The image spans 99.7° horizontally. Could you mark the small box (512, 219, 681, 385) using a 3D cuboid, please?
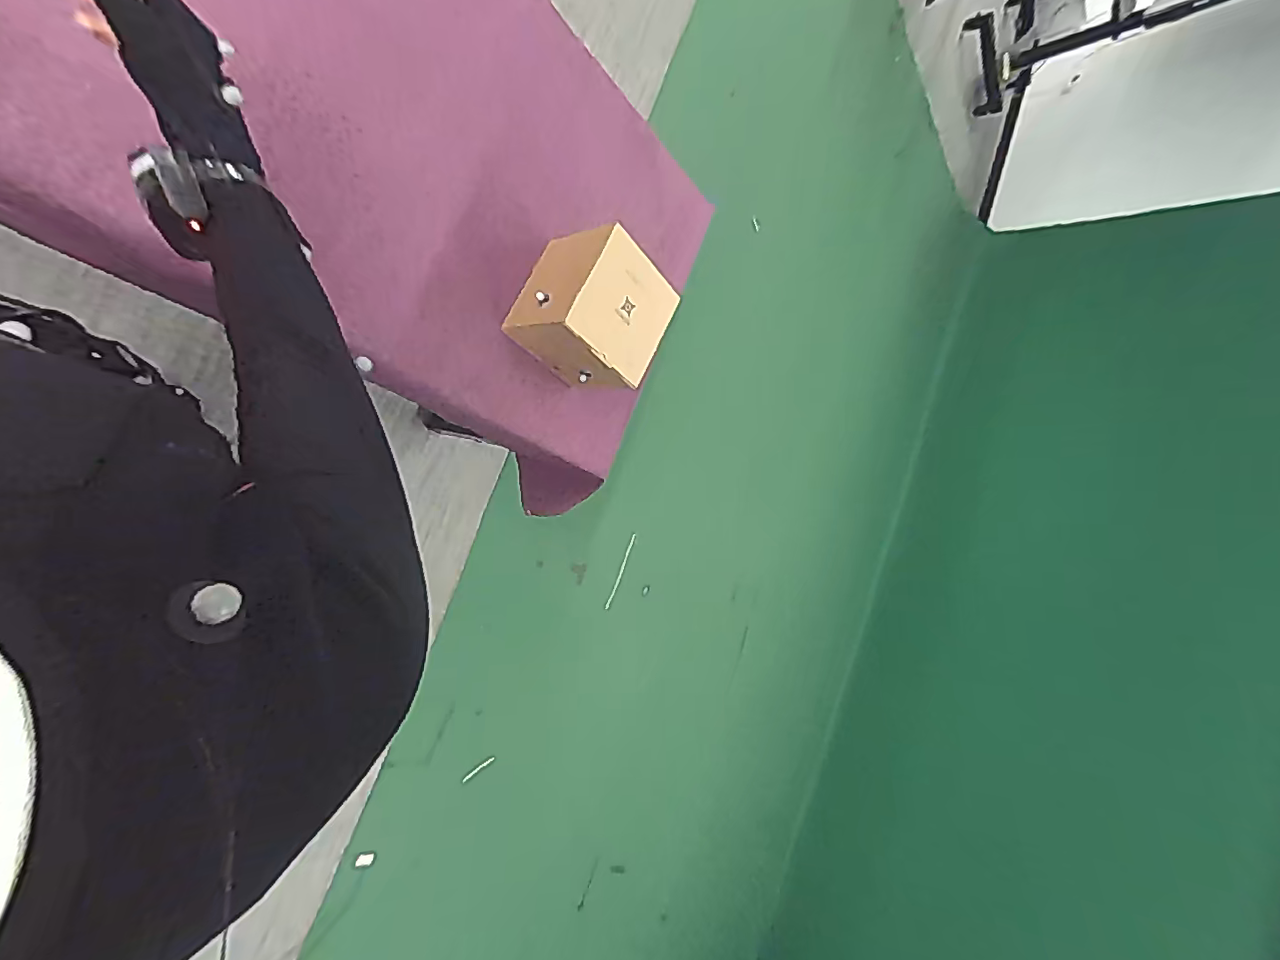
[{"bbox_3d":[-0.073,-0.266,0.844,0.168,0.176,0.179,37,73,-42],"label":"small box"}]
